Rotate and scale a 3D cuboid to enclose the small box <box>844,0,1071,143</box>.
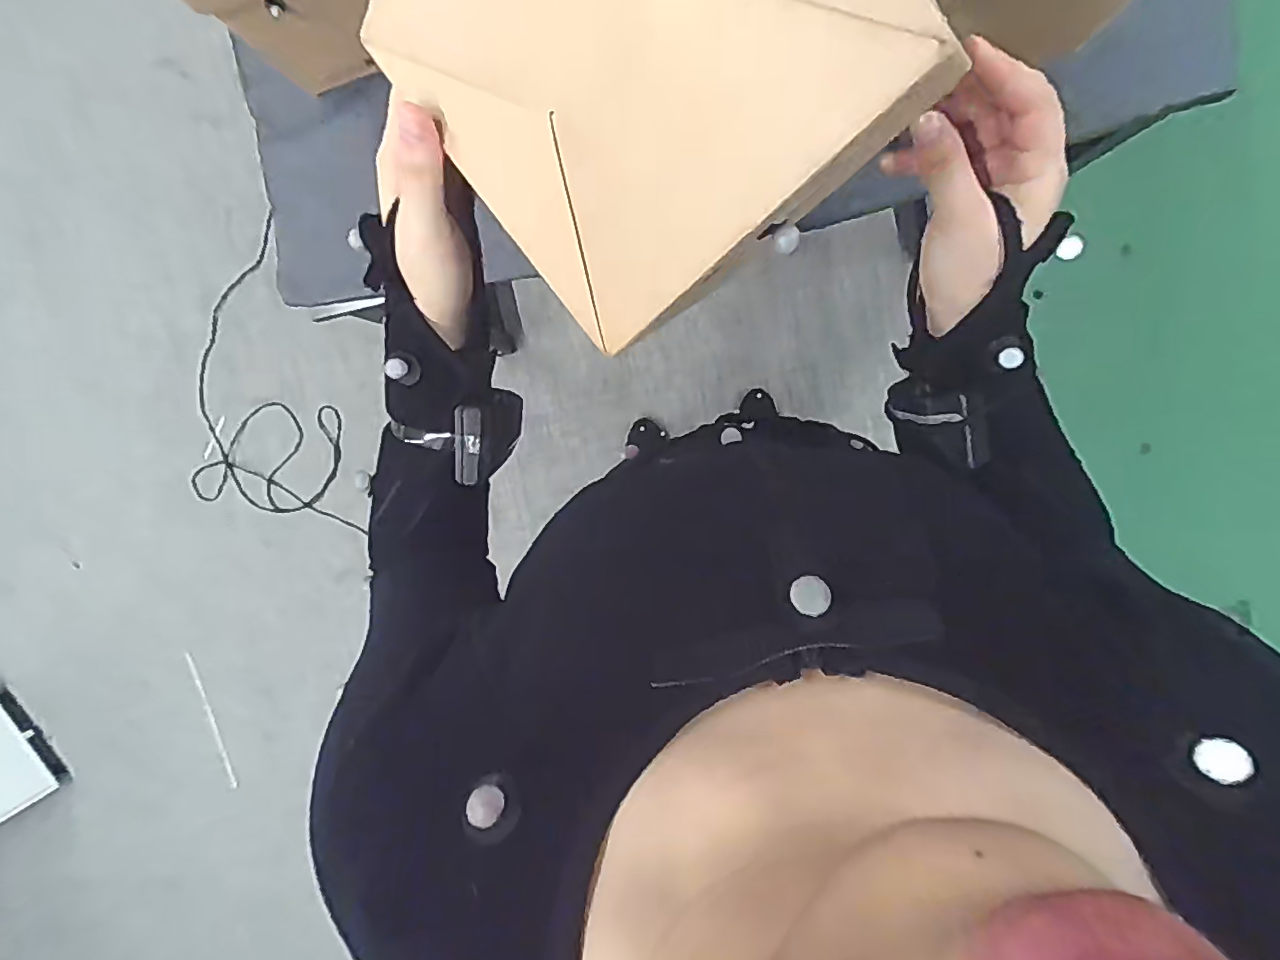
[{"bbox_3d":[0.331,-0.508,0.581,0.168,0.176,0.179,-10,96,7],"label":"small box"}]

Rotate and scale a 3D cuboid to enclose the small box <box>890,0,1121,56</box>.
[{"bbox_3d":[0.319,-0.474,0.422,0.179,0.176,0.168,1,96,7],"label":"small box"}]

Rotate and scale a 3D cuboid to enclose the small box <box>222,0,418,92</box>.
[{"bbox_3d":[-0.394,-0.612,0.634,0.168,0.176,0.179,-15,97,6],"label":"small box"}]
